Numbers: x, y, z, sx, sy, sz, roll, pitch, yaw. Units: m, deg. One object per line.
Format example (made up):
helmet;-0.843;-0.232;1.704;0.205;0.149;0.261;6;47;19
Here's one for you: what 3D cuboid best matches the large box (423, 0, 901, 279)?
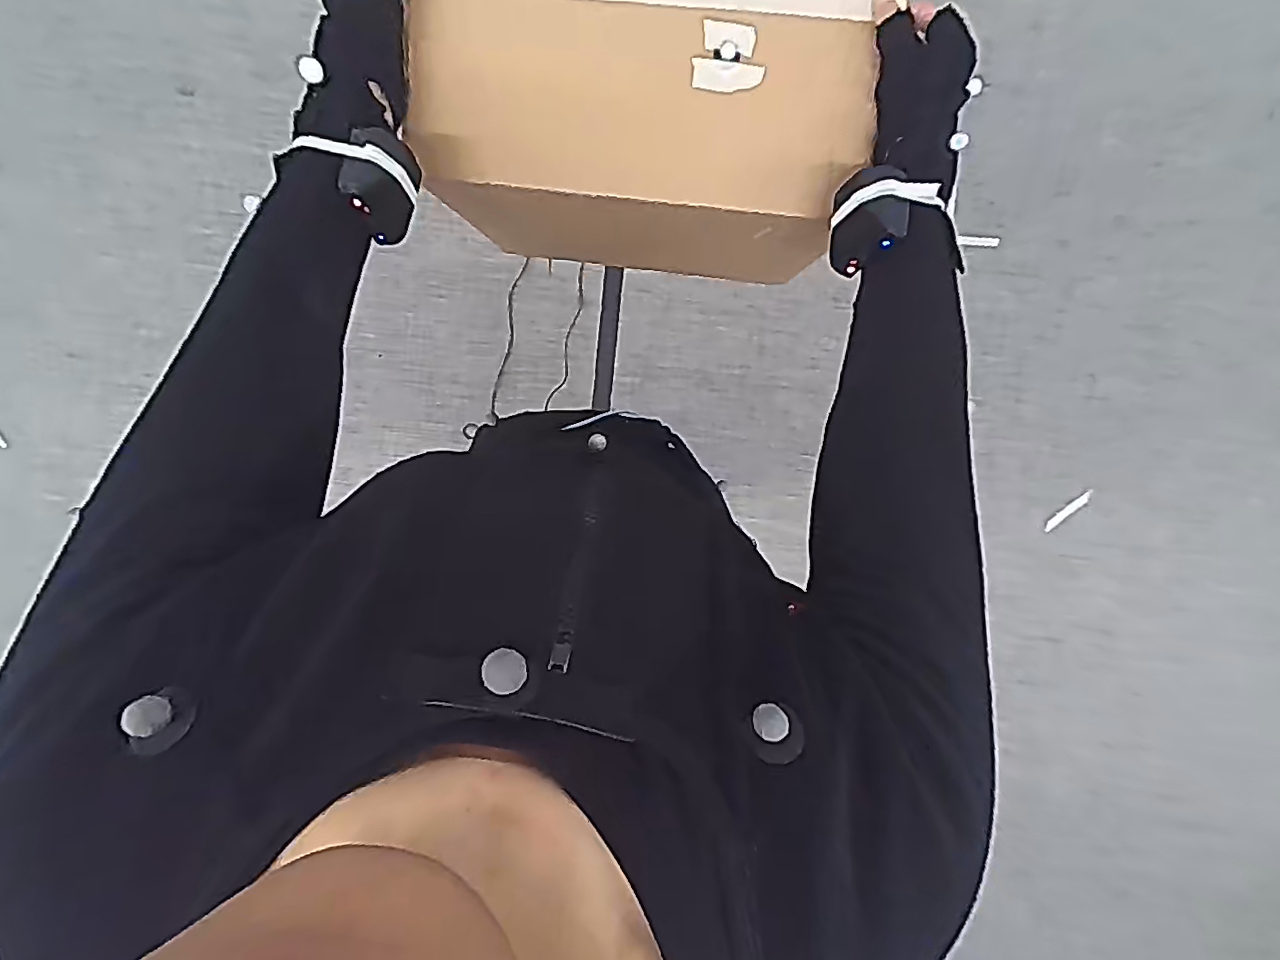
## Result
large box;0.020;-0.426;0.598;0.408;0.320;0.320;6;101;0
